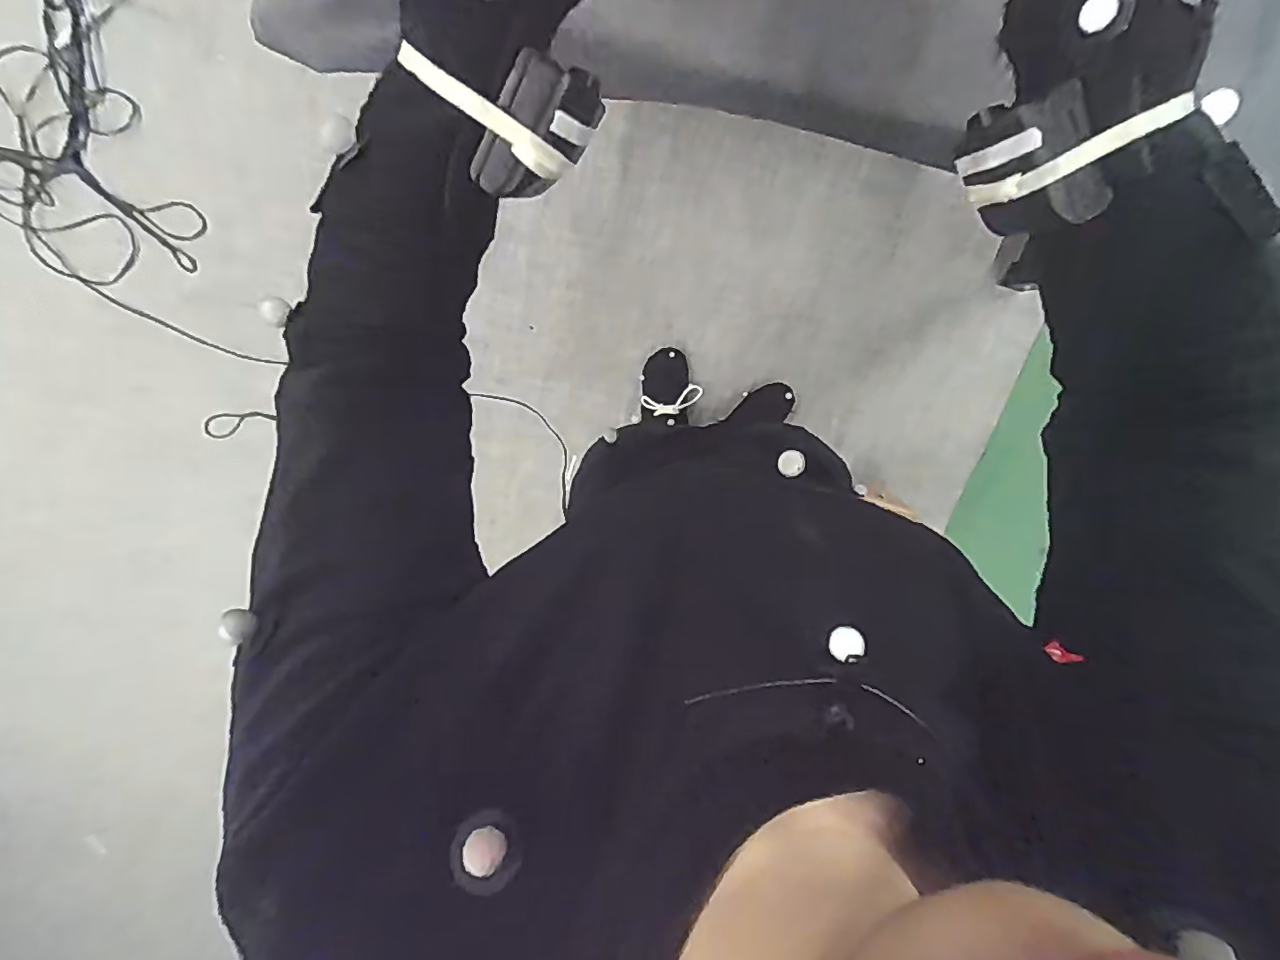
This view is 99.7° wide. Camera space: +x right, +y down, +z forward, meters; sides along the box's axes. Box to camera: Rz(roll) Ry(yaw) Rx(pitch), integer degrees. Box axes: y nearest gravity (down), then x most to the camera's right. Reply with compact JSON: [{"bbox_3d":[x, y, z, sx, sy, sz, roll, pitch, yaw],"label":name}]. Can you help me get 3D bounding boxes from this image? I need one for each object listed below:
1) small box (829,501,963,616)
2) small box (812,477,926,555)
[{"bbox_3d":[0.541,0.161,1.169,0.179,0.176,0.168,18,105,-3],"label":"small box"},{"bbox_3d":[0.550,0.108,1.324,0.179,0.176,0.168,18,106,-2],"label":"small box"}]
